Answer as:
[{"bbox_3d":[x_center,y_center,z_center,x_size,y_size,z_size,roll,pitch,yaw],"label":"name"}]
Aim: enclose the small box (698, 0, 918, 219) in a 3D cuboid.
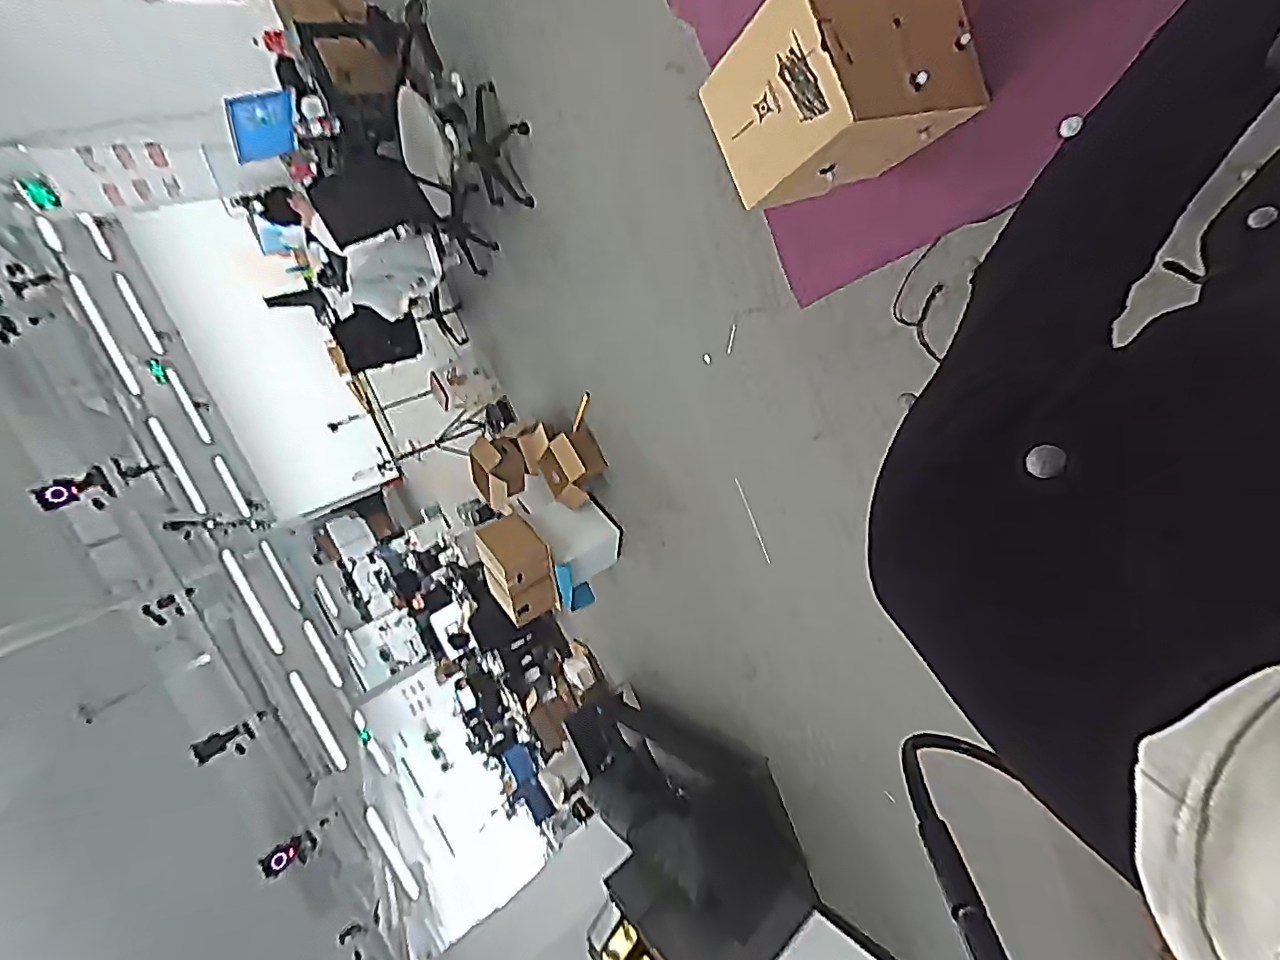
[{"bbox_3d":[0.209,-0.454,0.663,0.179,0.176,0.168,-14,101,59],"label":"small box"}]
